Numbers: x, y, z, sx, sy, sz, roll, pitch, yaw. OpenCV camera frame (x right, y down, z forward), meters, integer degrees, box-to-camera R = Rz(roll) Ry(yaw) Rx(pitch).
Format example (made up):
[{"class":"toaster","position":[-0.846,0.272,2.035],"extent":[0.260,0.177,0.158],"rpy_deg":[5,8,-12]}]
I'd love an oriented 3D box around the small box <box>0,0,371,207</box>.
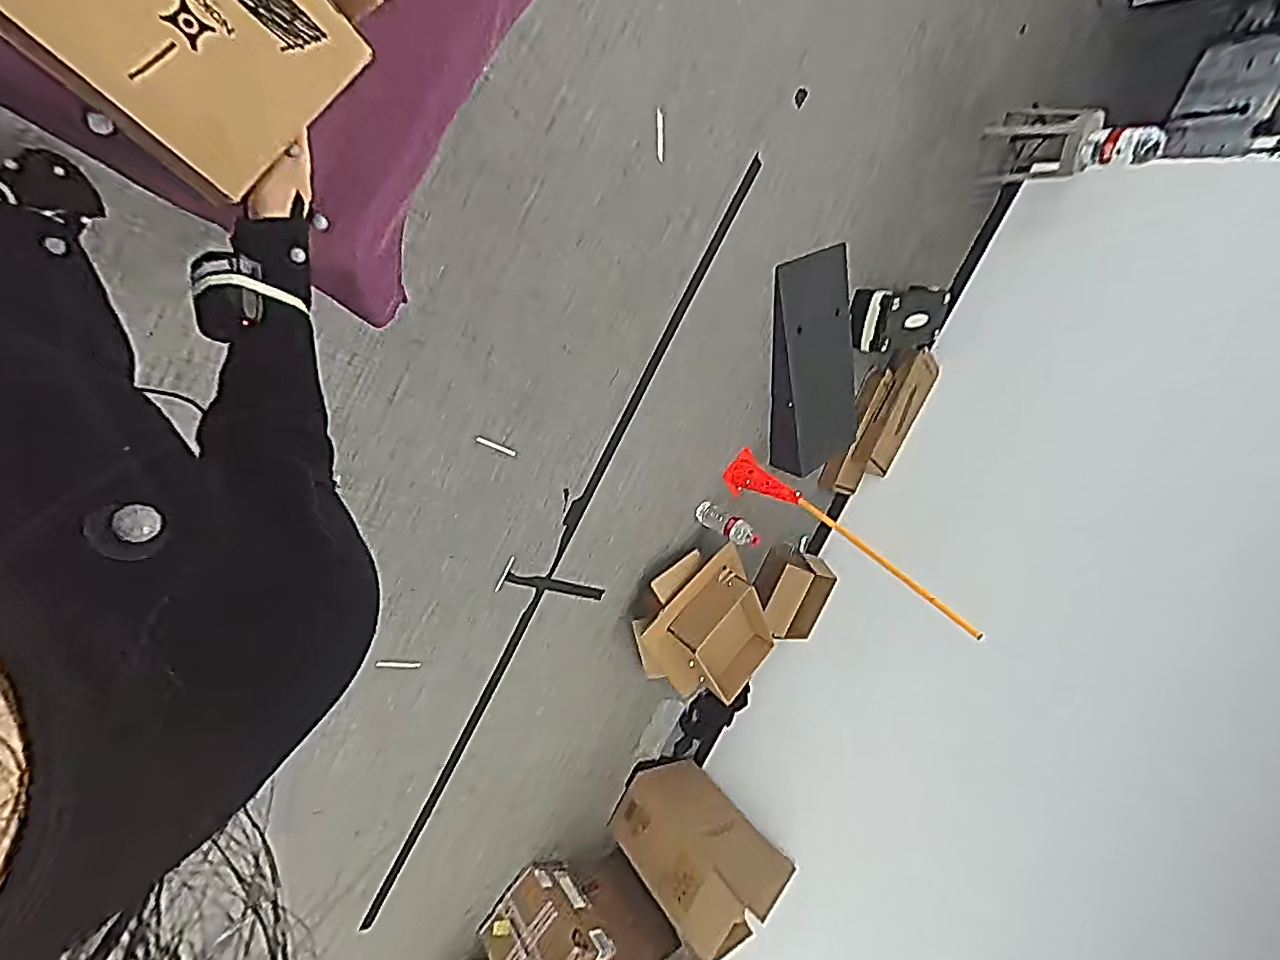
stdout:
[{"class":"small box","position":[-0.371,-0.358,0.450],"extent":[0.179,0.176,0.168],"rpy_deg":[-54,136,-8]}]
